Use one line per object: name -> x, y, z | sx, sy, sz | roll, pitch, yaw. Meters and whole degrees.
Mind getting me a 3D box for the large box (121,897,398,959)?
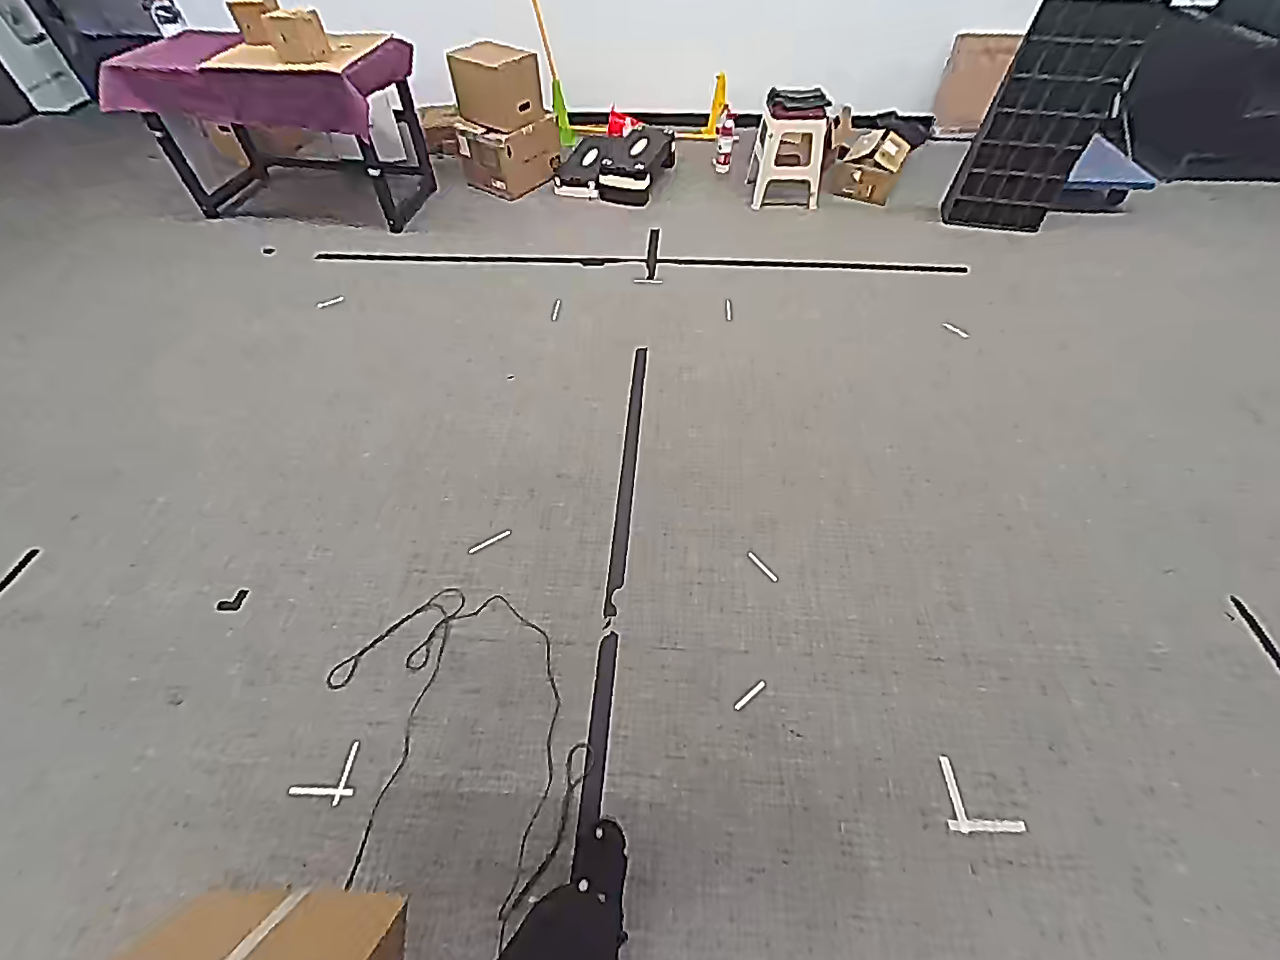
large box -> -0.513, 0.753, 0.590 | 0.320, 0.408, 0.320 | 1, 82, 0
